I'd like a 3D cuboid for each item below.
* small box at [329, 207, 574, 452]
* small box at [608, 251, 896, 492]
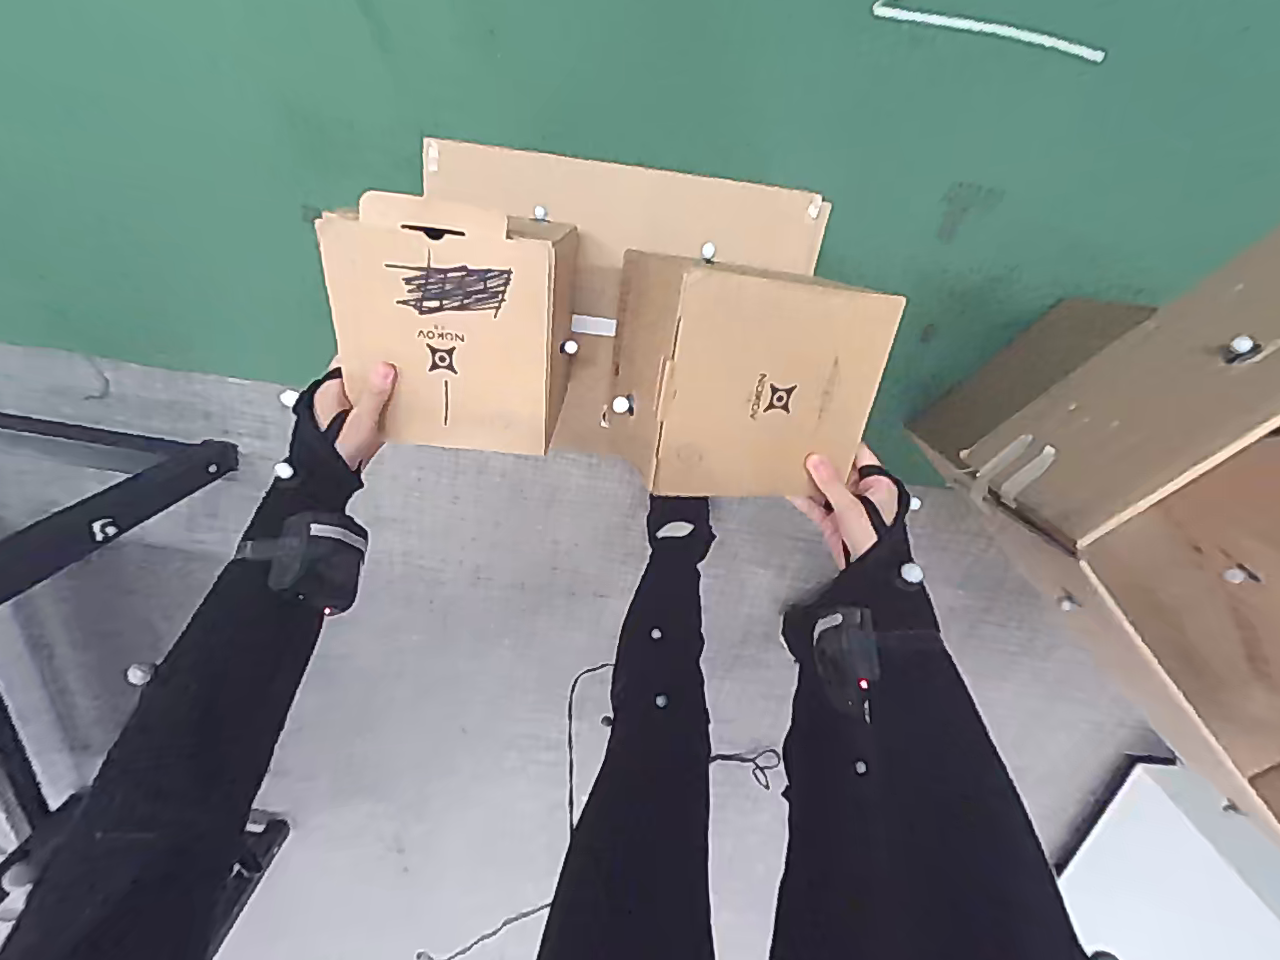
[{"bbox_3d":[-0.154,-0.146,0.500,0.168,0.176,0.179,6,119,-3],"label":"small box"},{"bbox_3d":[0.077,-0.102,0.478,0.179,0.176,0.168,2,115,-17],"label":"small box"}]
